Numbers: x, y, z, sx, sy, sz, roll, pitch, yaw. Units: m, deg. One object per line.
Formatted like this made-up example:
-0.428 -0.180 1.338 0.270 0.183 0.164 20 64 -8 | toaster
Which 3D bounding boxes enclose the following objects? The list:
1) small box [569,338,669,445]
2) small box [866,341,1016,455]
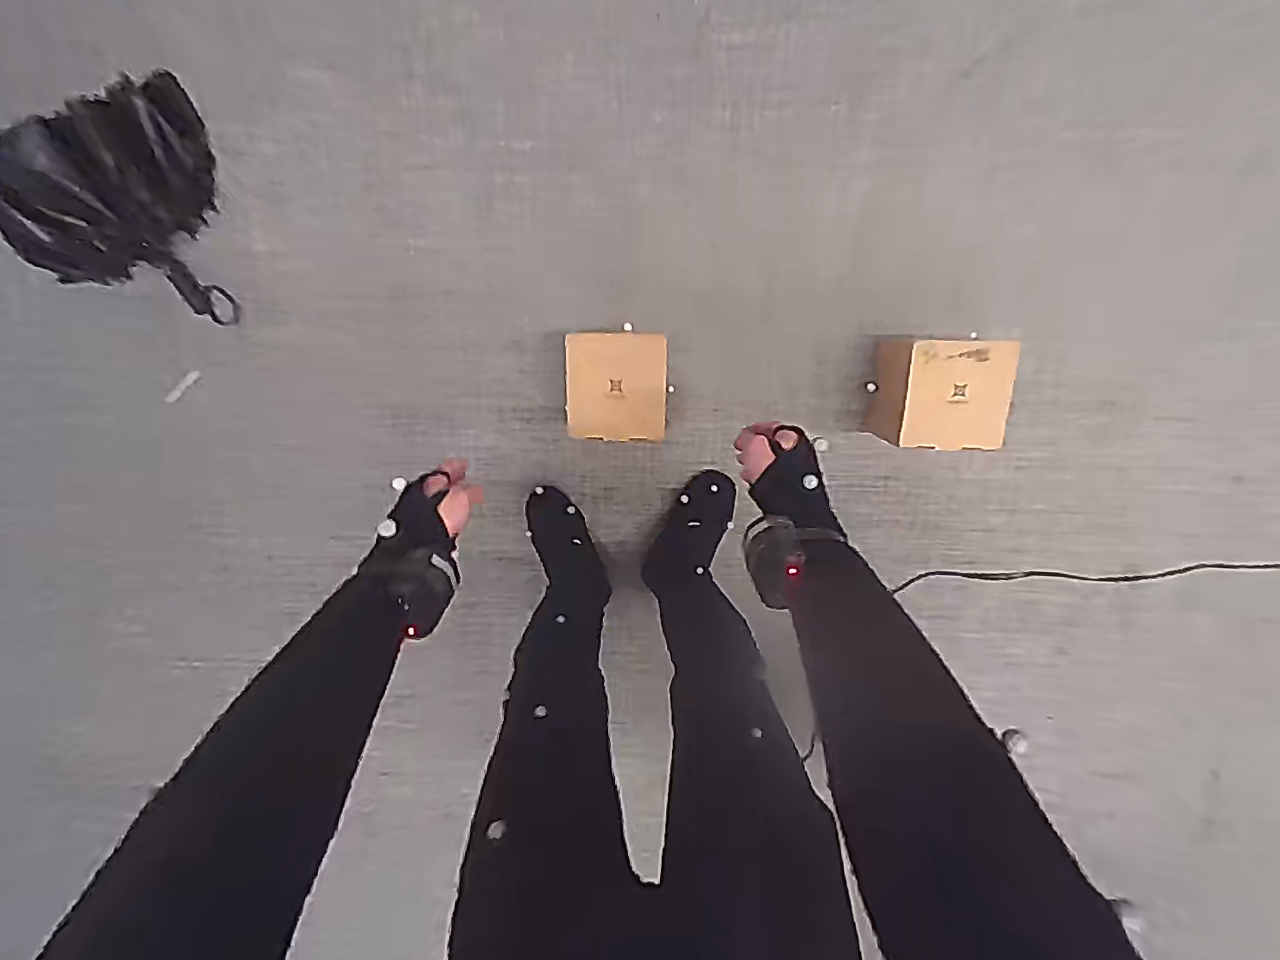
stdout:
-0.032 -0.165 0.976 0.168 0.176 0.179 0 103 1 | small box
0.513 -0.150 0.952 0.168 0.176 0.179 2 106 2 | small box
